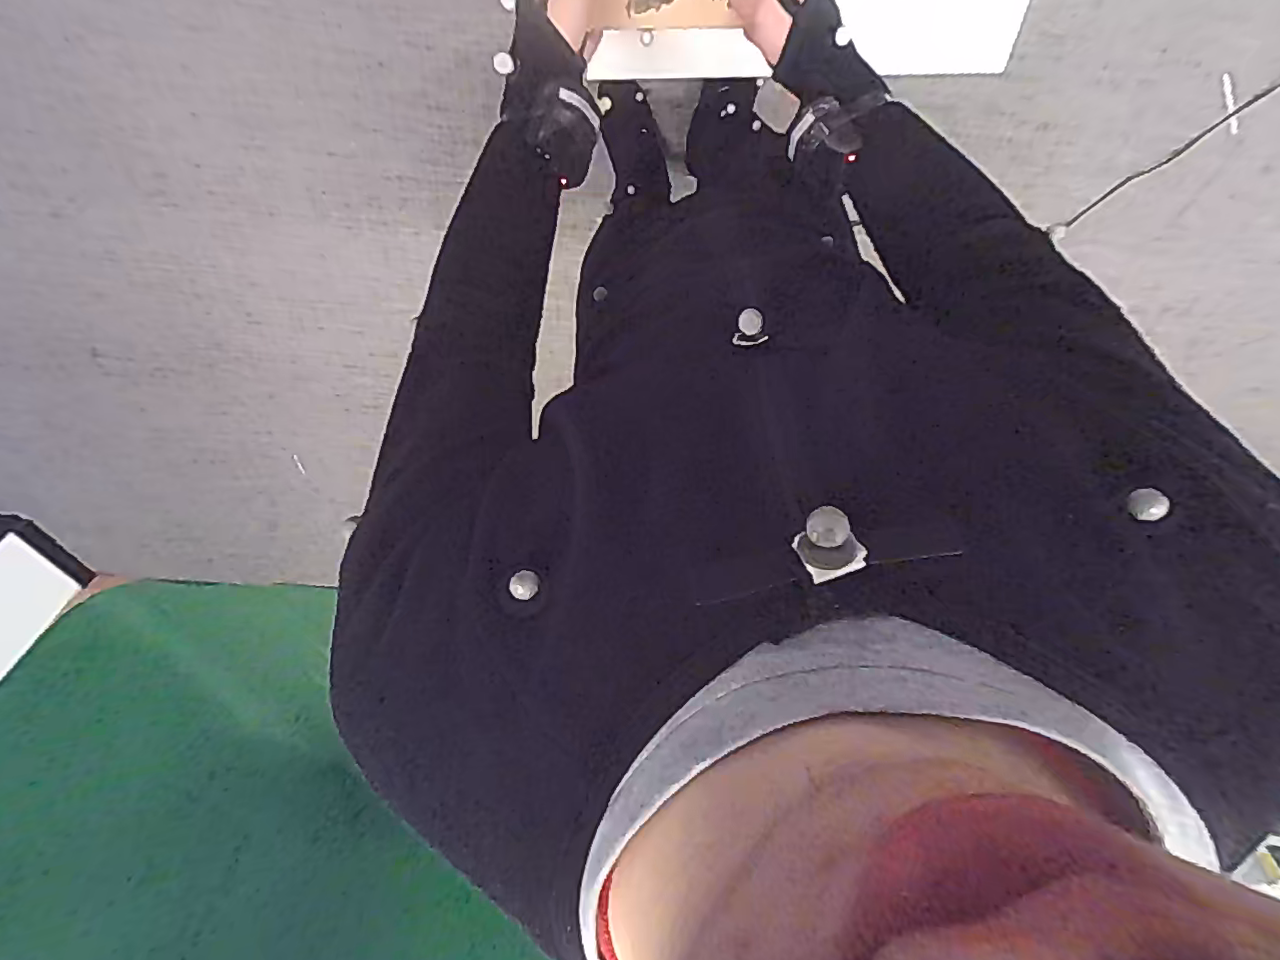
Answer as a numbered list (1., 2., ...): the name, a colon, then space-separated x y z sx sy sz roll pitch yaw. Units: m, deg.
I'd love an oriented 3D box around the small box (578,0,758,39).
1. small box: 0.027 -0.531 0.502 0.168 0.176 0.179 1 135 3
